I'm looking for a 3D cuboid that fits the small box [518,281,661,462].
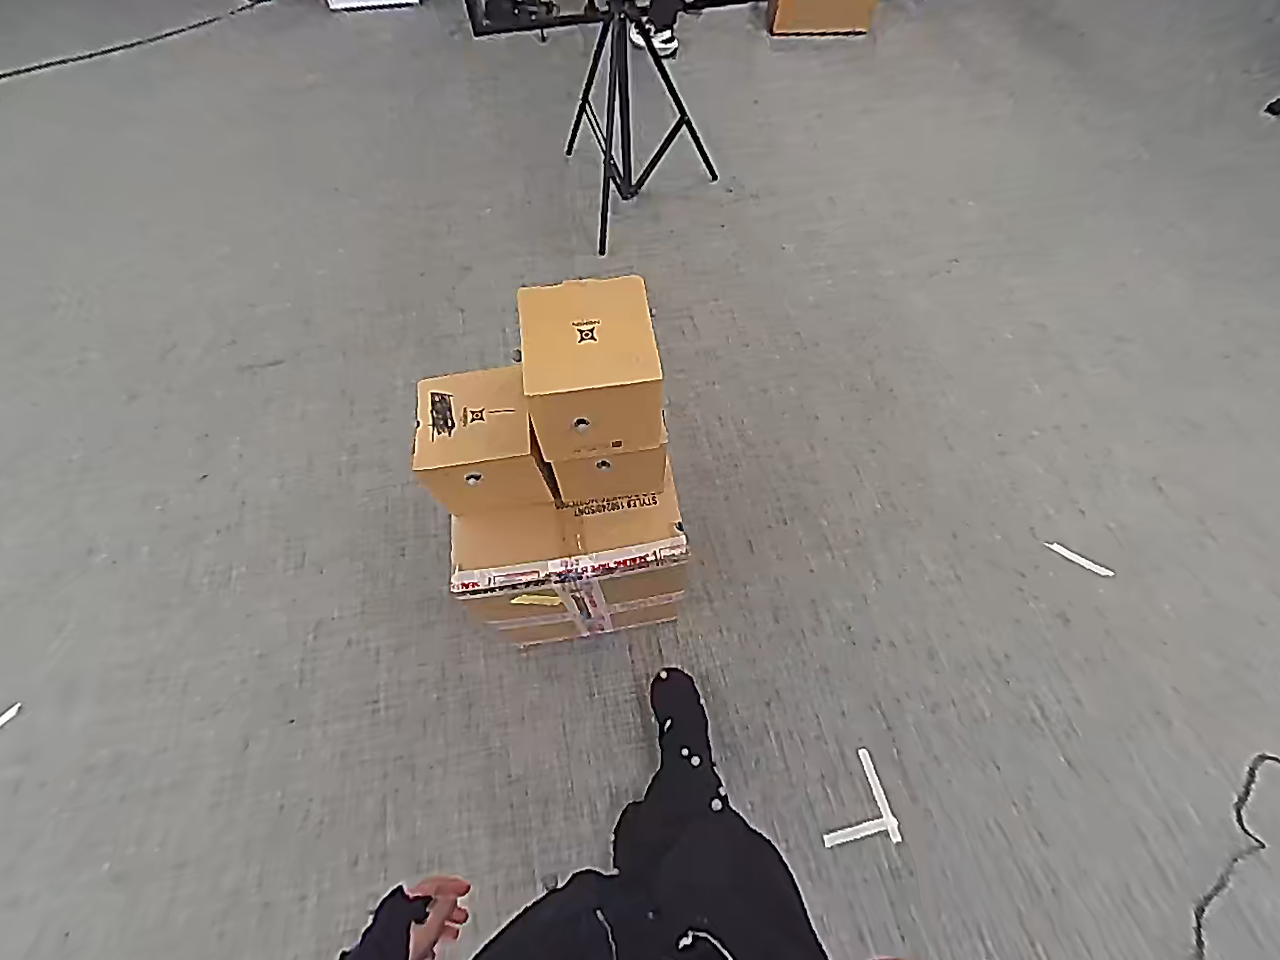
[{"bbox_3d":[-0.064,-0.137,0.739,0.168,0.176,0.179,-8,63,-4],"label":"small box"}]
